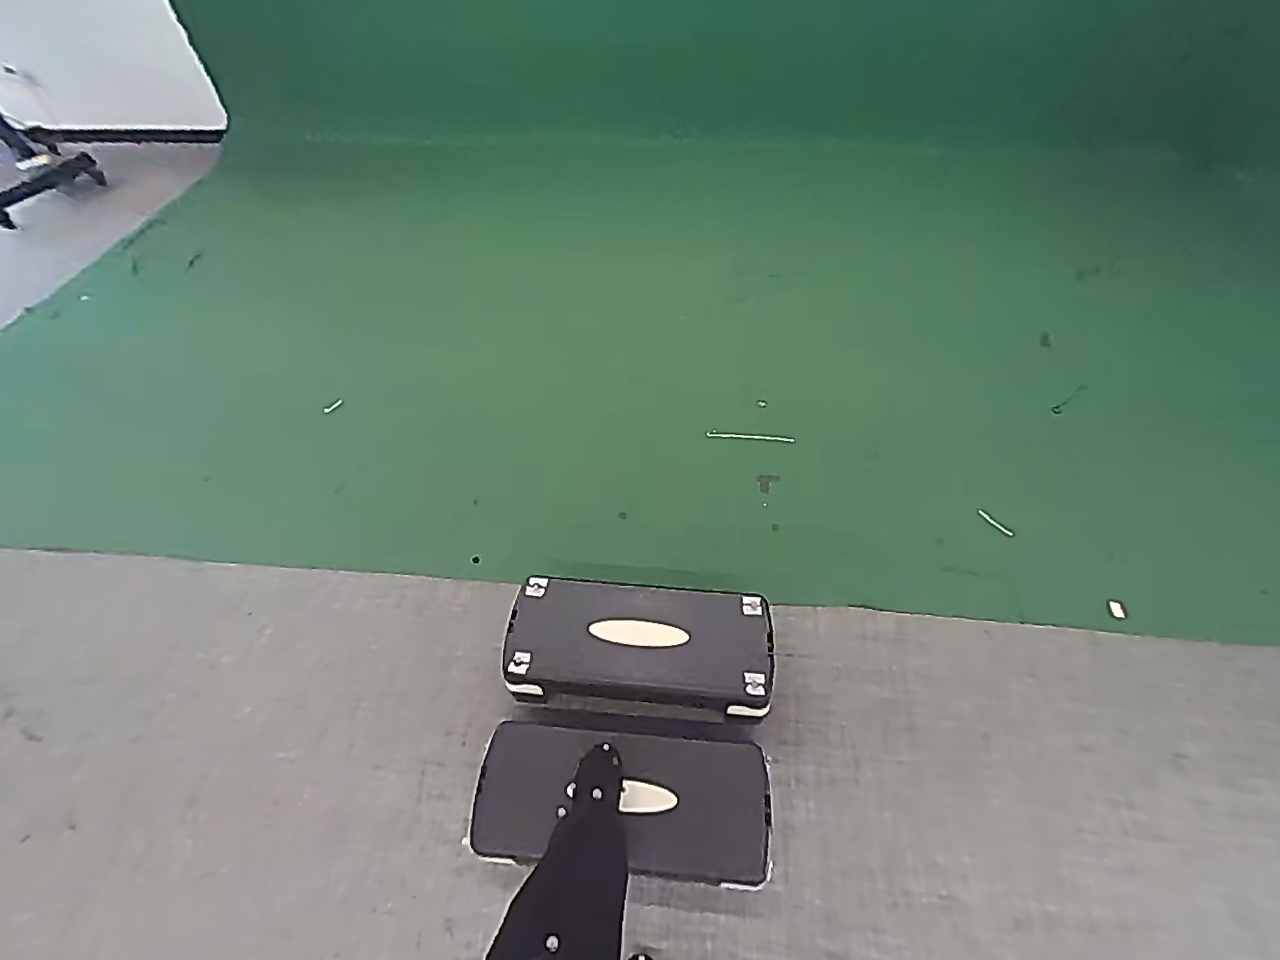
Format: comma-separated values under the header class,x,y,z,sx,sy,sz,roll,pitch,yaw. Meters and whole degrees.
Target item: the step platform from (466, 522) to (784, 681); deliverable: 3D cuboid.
class,x,y,z,sx,sy,sz,roll,pitch,yaw
step platform,-0.028,0.283,1.257,0.684,0.204,0.286,3,53,5
